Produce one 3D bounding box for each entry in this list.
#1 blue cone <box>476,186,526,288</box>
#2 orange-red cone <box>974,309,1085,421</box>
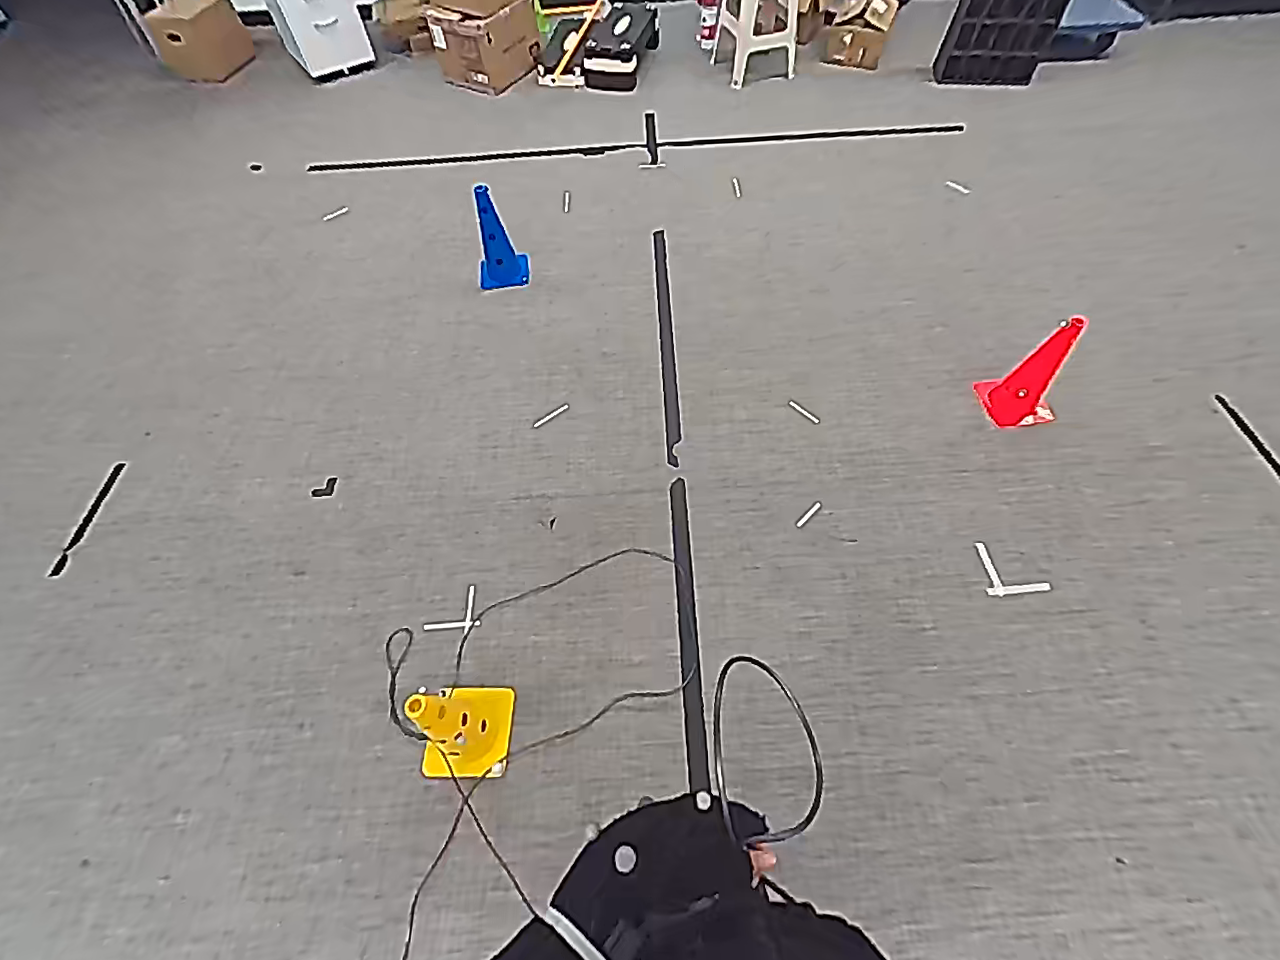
[{"bbox_3d":[-0.579,-0.958,2.117,0.192,0.380,0.193,-8,58,-2],"label":"blue cone"},{"bbox_3d":[1.232,-0.372,1.658,0.198,0.360,0.199,-7,57,-2],"label":"orange-red cone"}]
